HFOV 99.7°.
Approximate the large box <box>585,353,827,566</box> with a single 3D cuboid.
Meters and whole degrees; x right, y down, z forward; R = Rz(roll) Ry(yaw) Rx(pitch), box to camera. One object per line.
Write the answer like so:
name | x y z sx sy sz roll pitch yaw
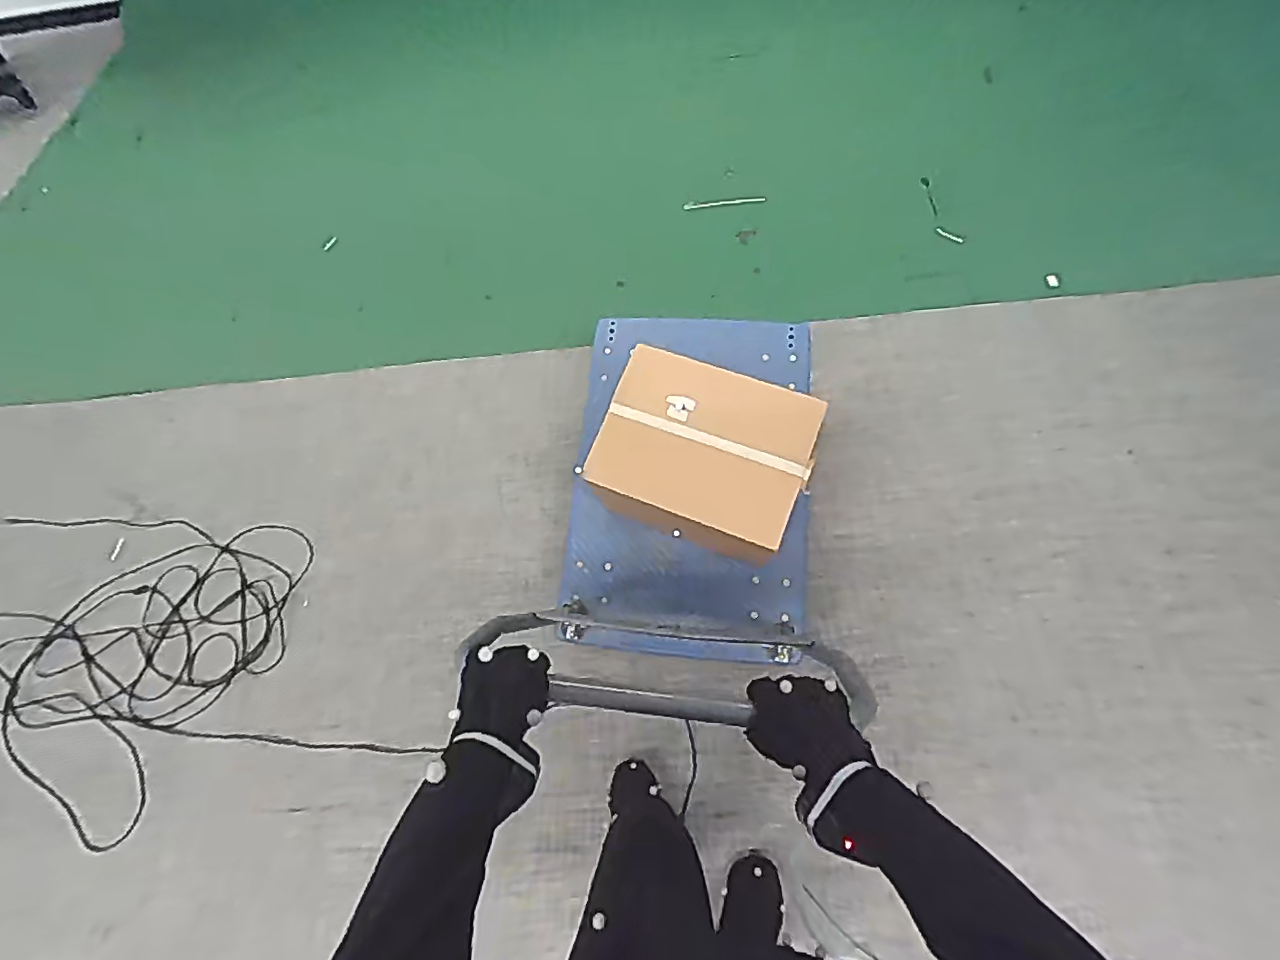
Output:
large box | 0.148 -0.029 1.193 0.408 0.320 0.320 20 78 13
